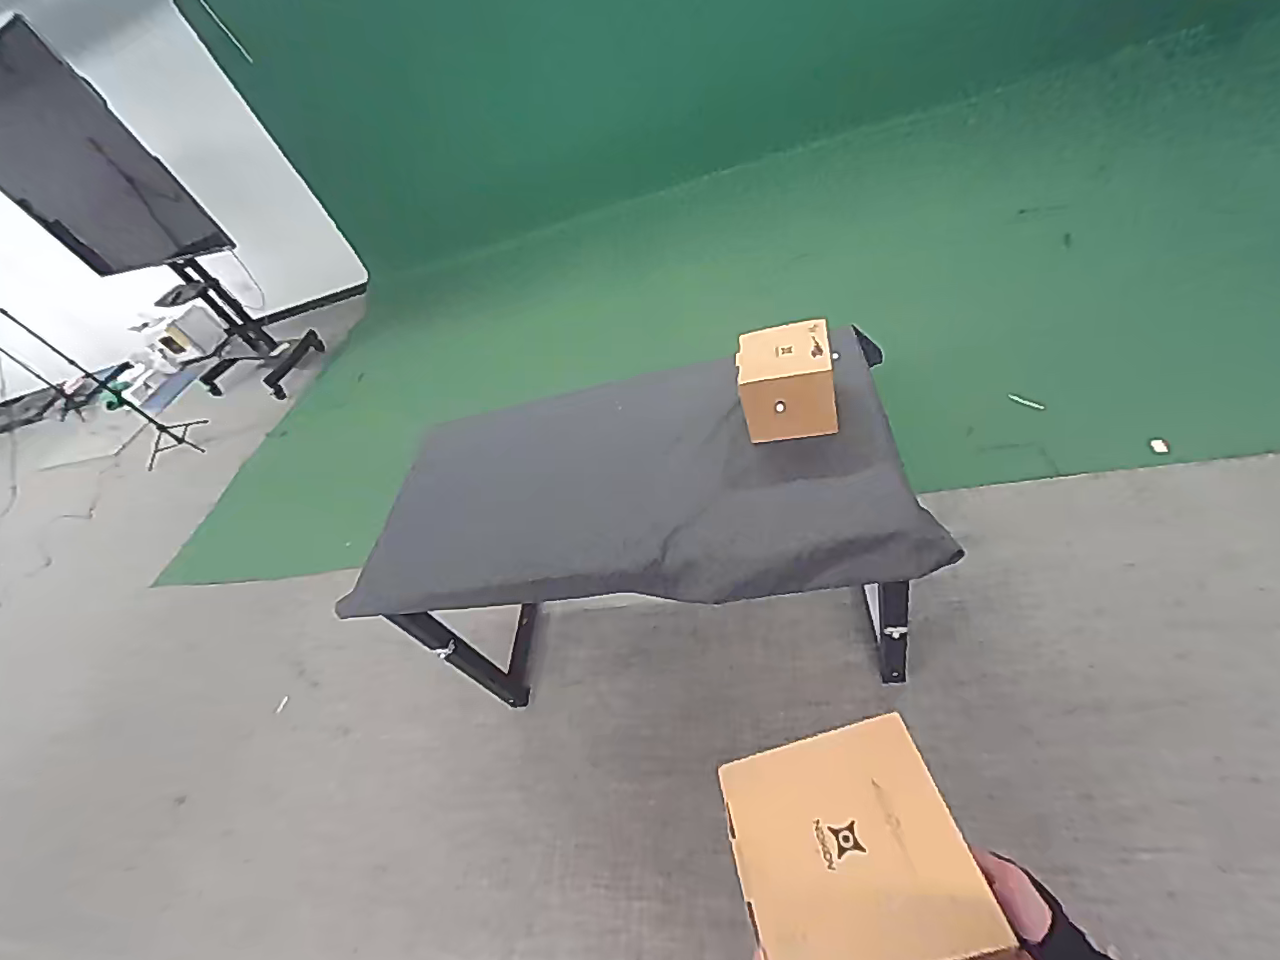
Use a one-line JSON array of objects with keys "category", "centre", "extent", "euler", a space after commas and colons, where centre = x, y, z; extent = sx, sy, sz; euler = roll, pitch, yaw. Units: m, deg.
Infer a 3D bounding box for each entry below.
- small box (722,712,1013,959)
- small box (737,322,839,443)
[{"category": "small box", "centre": [0.195, 0.345, 0.487], "extent": [0.179, 0.176, 0.168], "euler": [-22, 40, 7]}, {"category": "small box", "centre": [0.307, -0.193, 1.119], "extent": [0.179, 0.176, 0.168], "euler": [-7, 48, 20]}]
